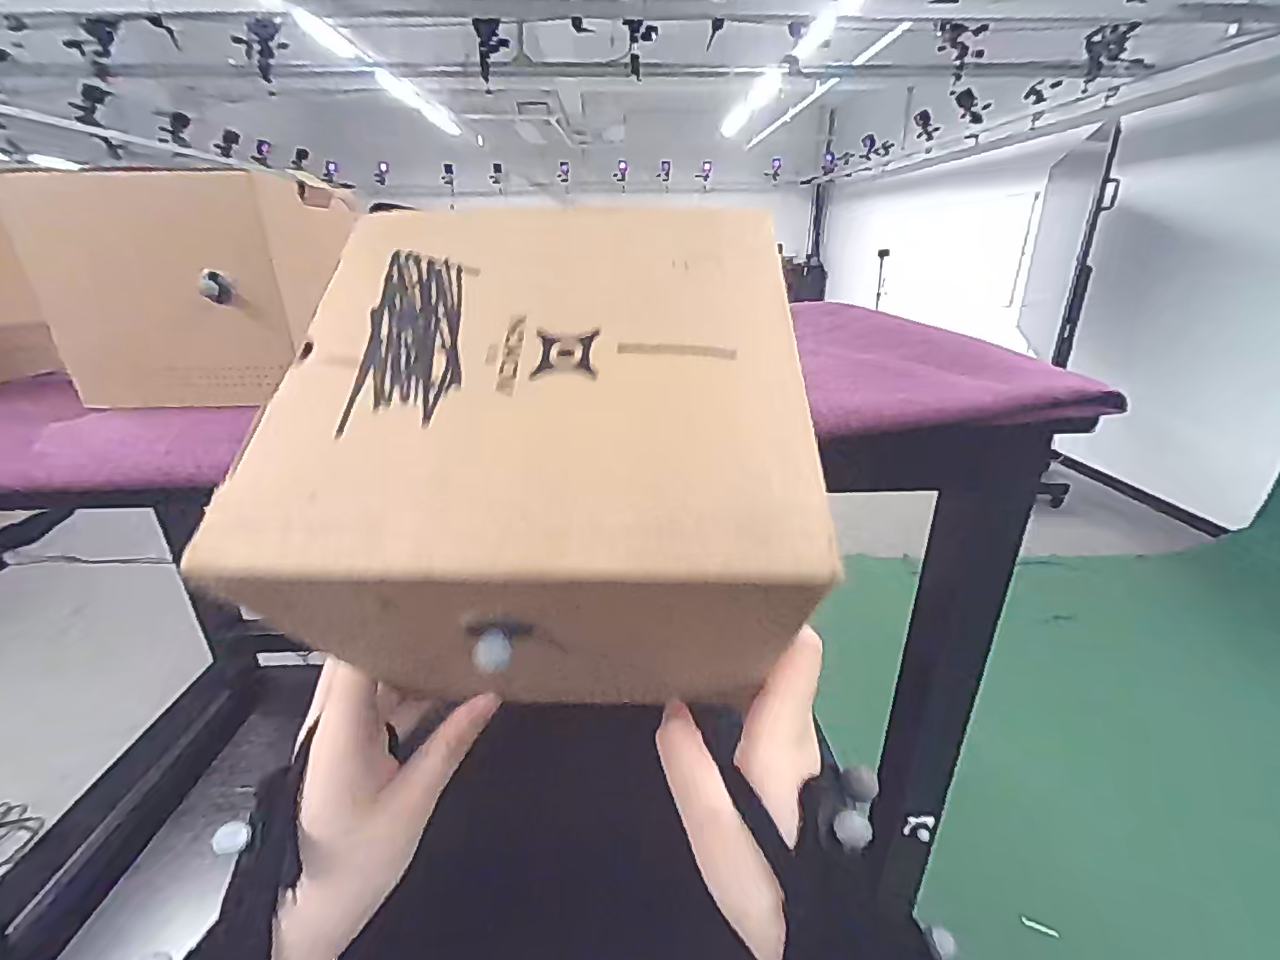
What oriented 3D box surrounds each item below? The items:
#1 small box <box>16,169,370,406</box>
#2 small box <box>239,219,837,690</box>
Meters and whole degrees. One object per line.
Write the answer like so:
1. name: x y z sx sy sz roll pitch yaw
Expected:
1. small box: -0.345 -0.167 0.477 0.179 0.176 0.168 -2 22 -2
2. small box: -0.027 0.000 0.262 0.179 0.176 0.168 1 58 1
